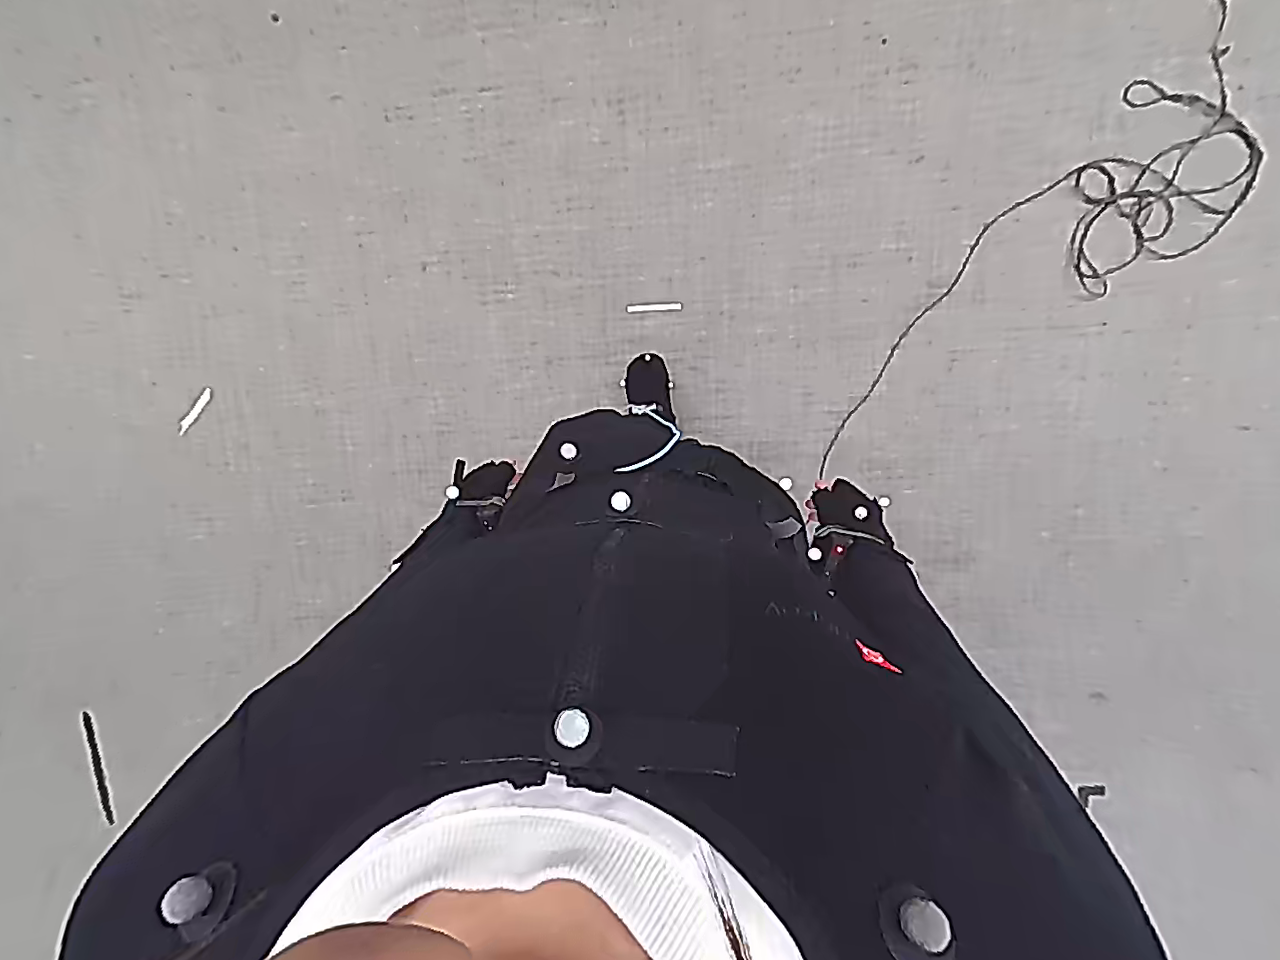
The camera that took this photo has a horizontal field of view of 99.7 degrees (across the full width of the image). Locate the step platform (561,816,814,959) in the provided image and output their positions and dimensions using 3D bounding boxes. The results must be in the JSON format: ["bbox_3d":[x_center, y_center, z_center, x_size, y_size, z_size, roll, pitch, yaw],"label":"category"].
[{"bbox_3d":[0.126,1.133,1.498,0.684,0.204,0.286,-3,97,7],"label":"step platform"}]
